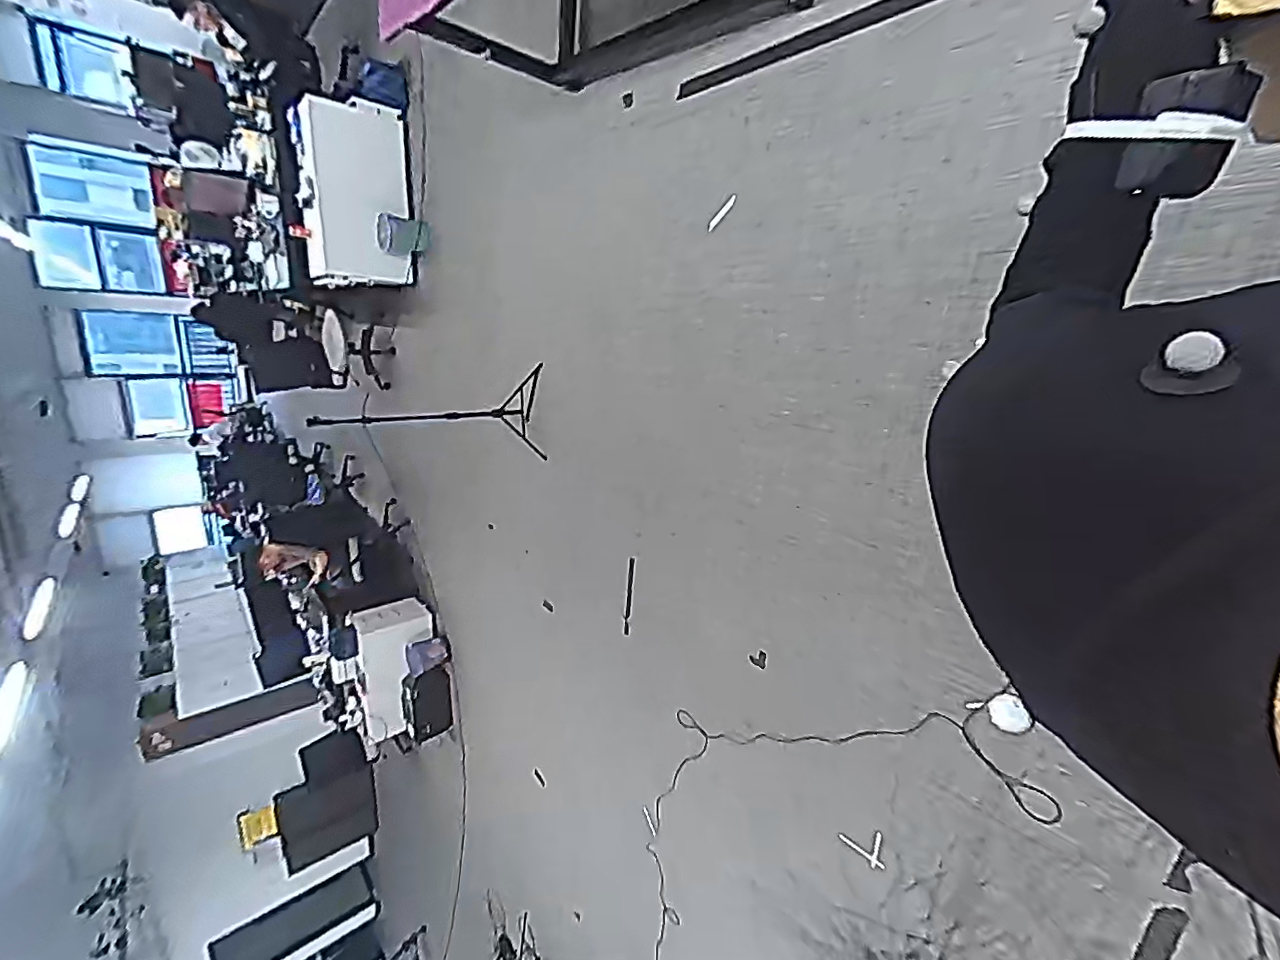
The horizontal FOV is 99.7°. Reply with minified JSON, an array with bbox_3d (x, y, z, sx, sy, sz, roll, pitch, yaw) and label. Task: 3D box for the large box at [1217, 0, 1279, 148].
[{"bbox_3d":[0.583,-0.362,0.218,0.408,0.320,0.320,28,120,44],"label":"large box"}]
